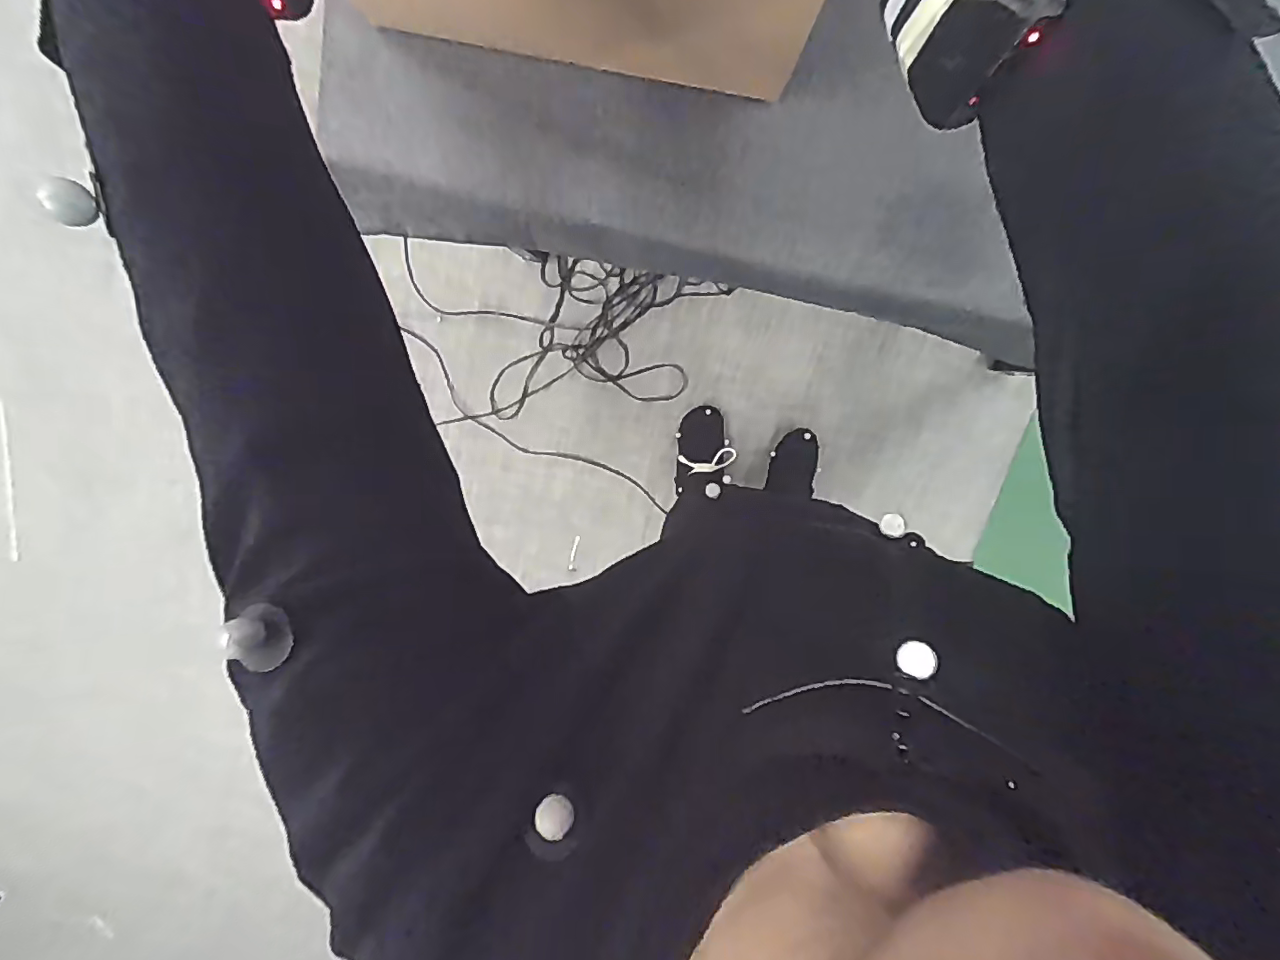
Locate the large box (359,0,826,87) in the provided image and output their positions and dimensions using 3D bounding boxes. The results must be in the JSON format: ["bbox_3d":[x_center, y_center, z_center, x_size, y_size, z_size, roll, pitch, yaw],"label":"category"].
[{"bbox_3d":[-0.038,-0.515,0.338,0.408,0.320,0.320,9,104,-1],"label":"large box"}]
